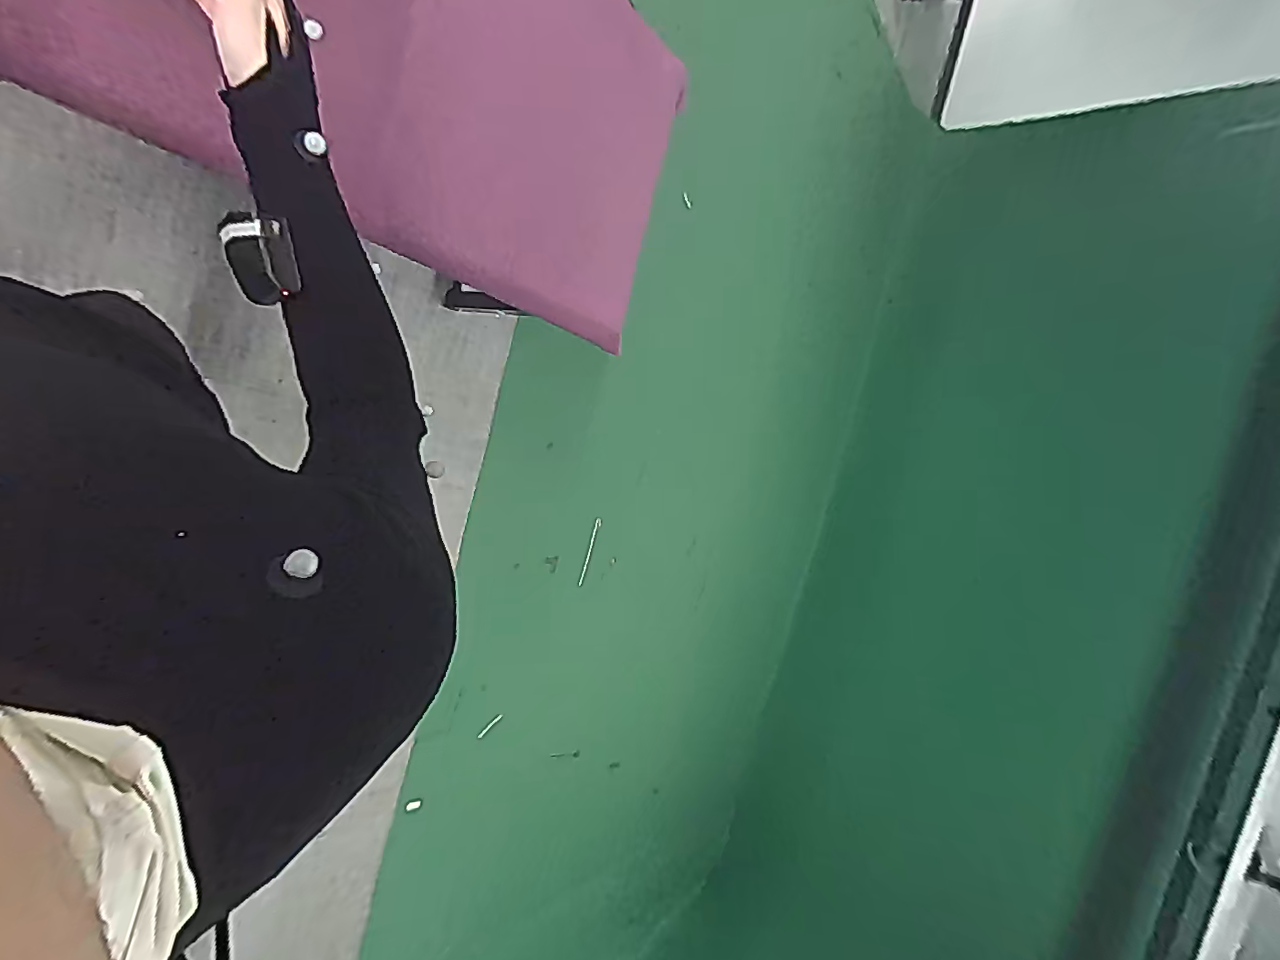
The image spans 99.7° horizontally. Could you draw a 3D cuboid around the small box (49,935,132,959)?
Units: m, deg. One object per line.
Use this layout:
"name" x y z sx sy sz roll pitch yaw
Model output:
"small box" -1.344 1.263 1.293 0.168 0.176 0.179 18 91 -50
